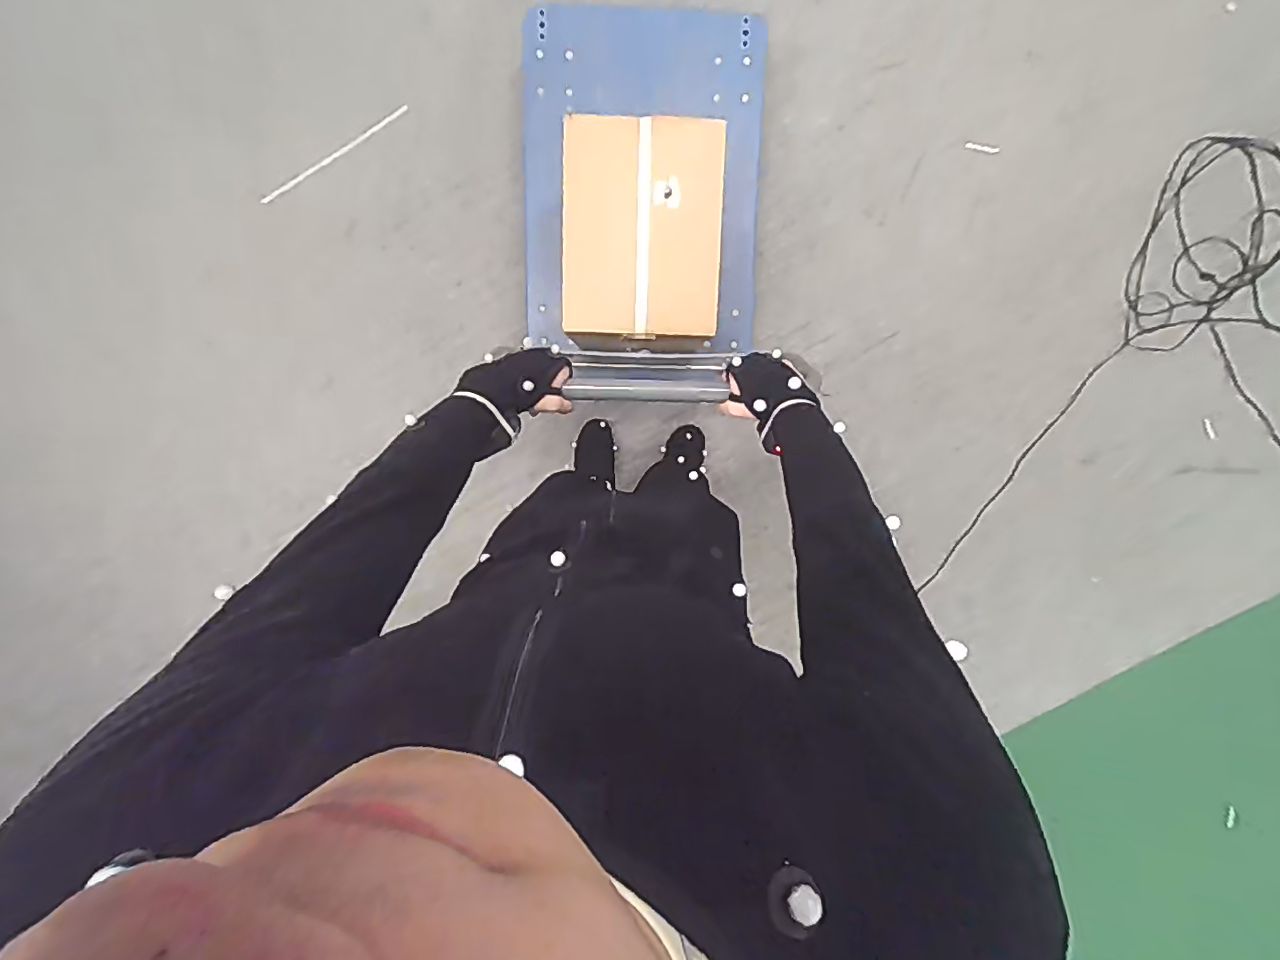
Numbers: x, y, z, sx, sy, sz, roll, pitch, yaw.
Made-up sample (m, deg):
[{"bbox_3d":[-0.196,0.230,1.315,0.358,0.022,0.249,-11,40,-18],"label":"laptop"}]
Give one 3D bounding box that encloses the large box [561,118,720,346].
[{"bbox_3d":[-0.002,-0.522,1.224,0.320,0.320,0.408,2,98,-2],"label":"large box"}]
